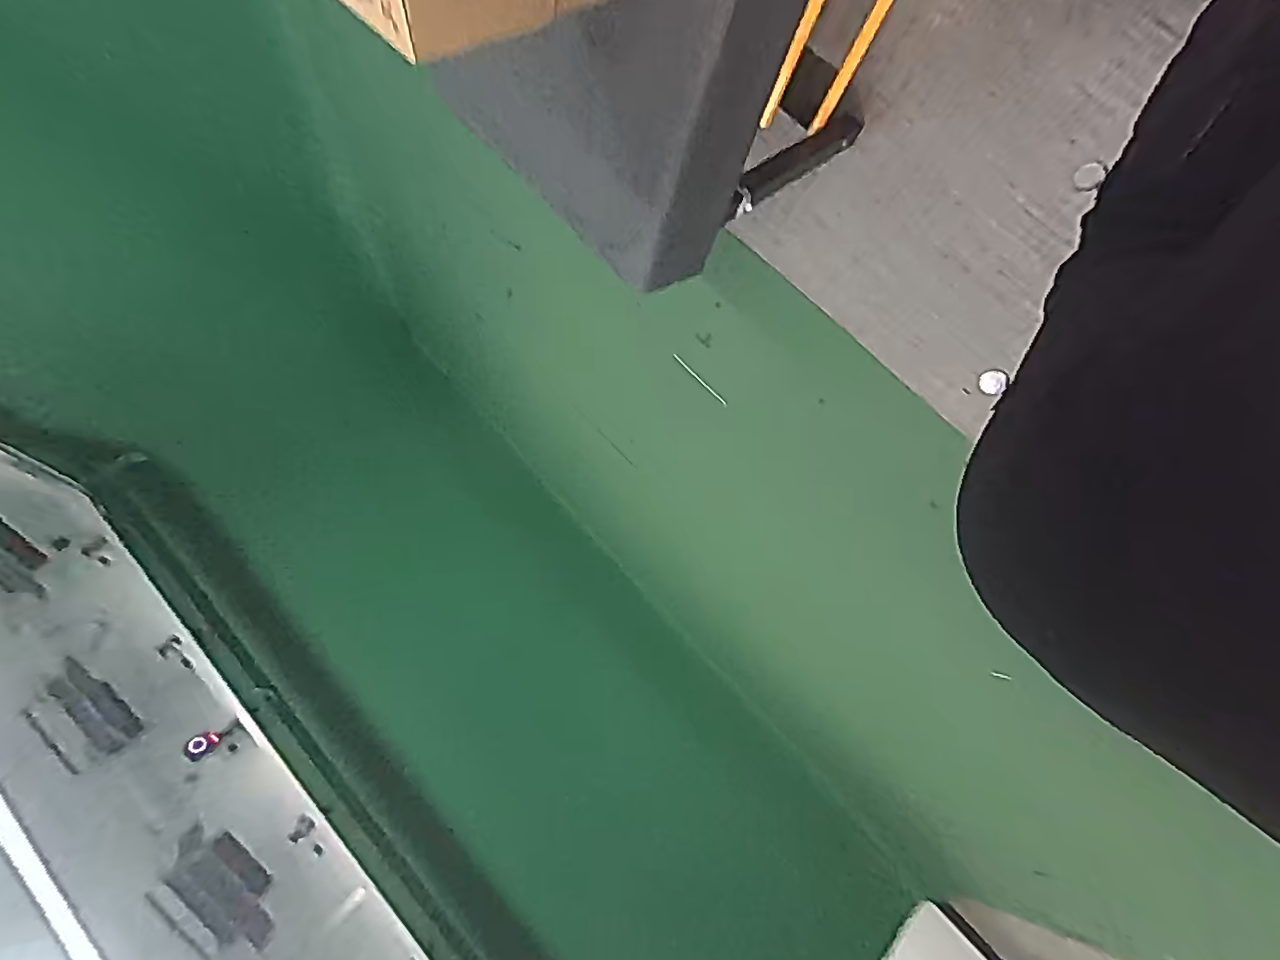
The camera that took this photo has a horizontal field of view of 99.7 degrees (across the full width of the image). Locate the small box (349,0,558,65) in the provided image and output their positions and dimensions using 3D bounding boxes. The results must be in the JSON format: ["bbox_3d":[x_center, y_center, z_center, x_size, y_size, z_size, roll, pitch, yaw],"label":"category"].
[{"bbox_3d":[-0.182,-0.520,0.472,0.168,0.176,0.179,46,155,13],"label":"small box"}]

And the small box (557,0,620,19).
[{"bbox_3d":[-0.065,-0.618,0.535,0.168,0.176,0.179,46,156,13],"label":"small box"}]
